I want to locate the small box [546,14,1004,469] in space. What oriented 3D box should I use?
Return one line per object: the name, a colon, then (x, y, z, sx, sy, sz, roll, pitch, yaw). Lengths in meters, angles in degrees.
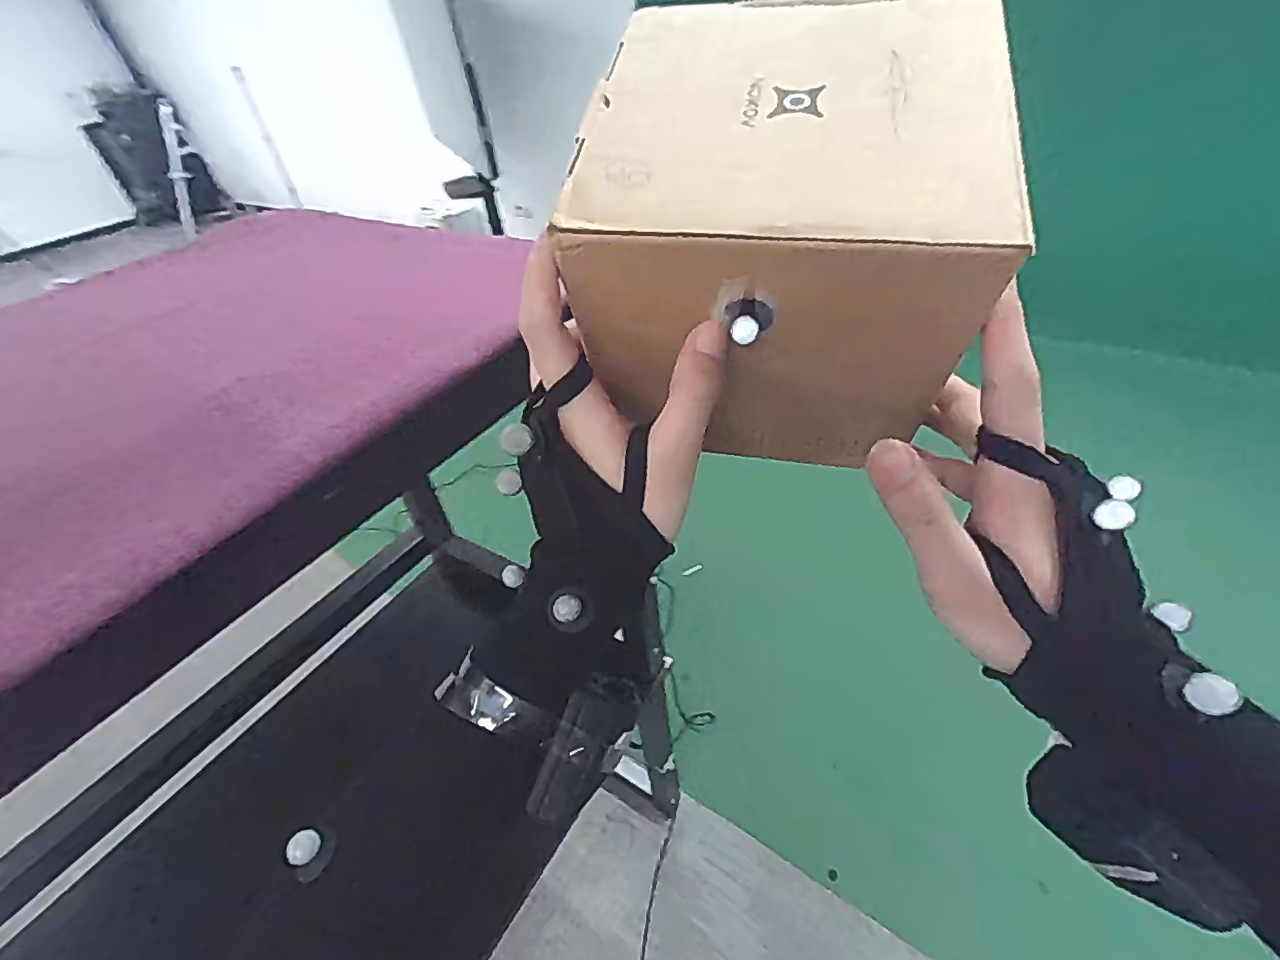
small box: (0.072, -0.121, 0.309, 0.179, 0.176, 0.168, 9, 65, 13)
